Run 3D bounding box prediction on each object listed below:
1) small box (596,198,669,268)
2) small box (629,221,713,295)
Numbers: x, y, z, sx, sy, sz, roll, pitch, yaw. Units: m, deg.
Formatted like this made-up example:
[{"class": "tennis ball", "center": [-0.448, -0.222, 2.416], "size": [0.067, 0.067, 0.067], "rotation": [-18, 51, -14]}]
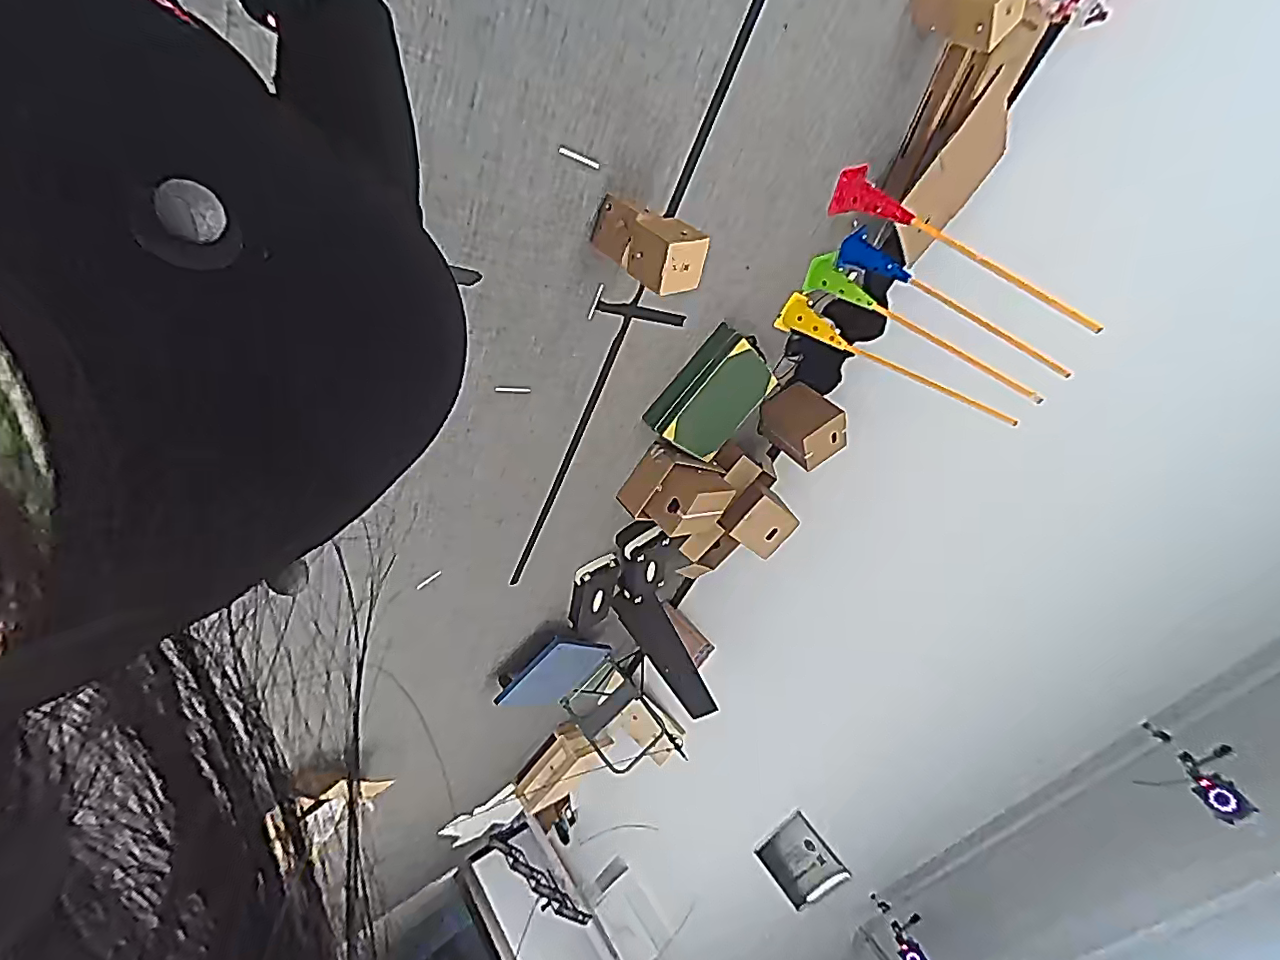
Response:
[{"class": "small box", "center": [-0.015, -0.802, 1.777], "size": [0.179, 0.176, 0.168], "rotation": [-11, 137, -46]}, {"class": "small box", "center": [0.094, -0.703, 1.703], "size": [0.179, 0.176, 0.168], "rotation": [-19, 141, -34]}]
